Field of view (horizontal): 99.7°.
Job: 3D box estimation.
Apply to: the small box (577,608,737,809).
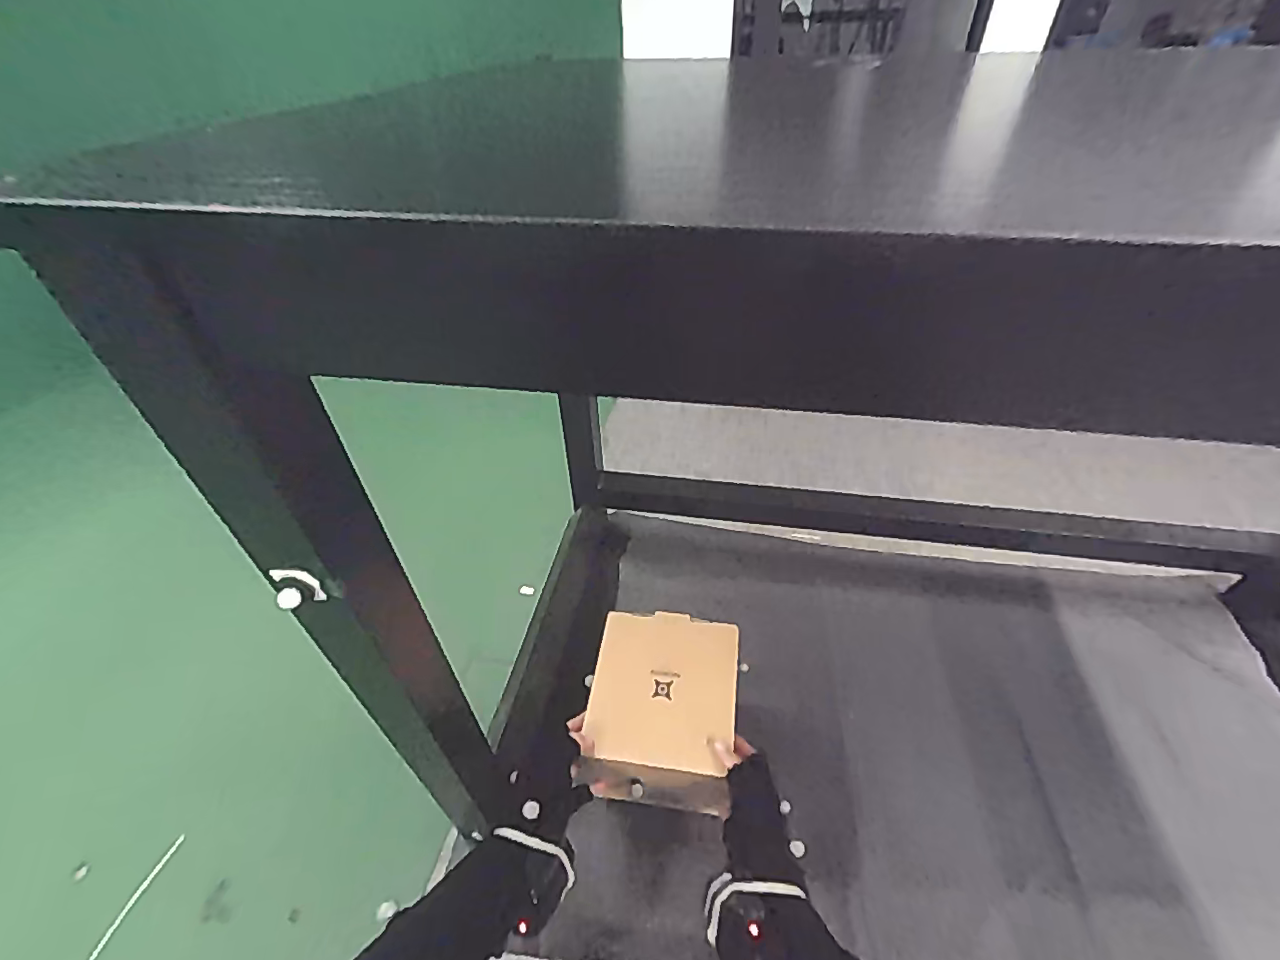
[{"bbox_3d":[0.032,0.285,0.673,0.168,0.176,0.179,4,46,9],"label":"small box"}]
